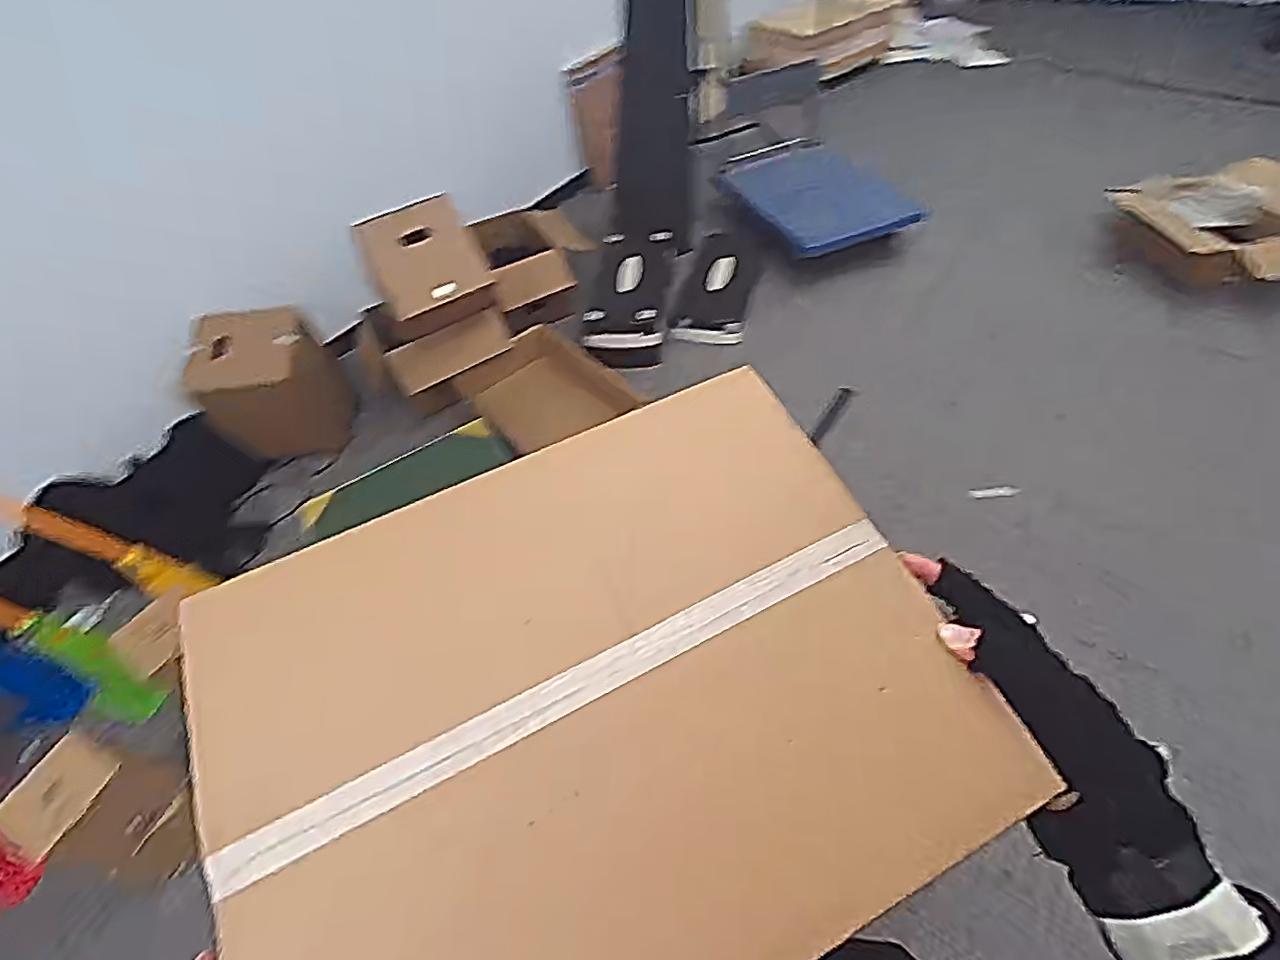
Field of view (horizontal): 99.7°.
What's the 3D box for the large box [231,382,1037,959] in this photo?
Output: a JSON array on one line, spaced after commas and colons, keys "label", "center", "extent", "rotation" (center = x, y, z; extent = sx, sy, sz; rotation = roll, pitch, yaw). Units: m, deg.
[{"label": "large box", "center": [-0.020, 0.191, 0.453], "extent": [0.408, 0.320, 0.320], "rotation": [-24, 65, -11]}]
